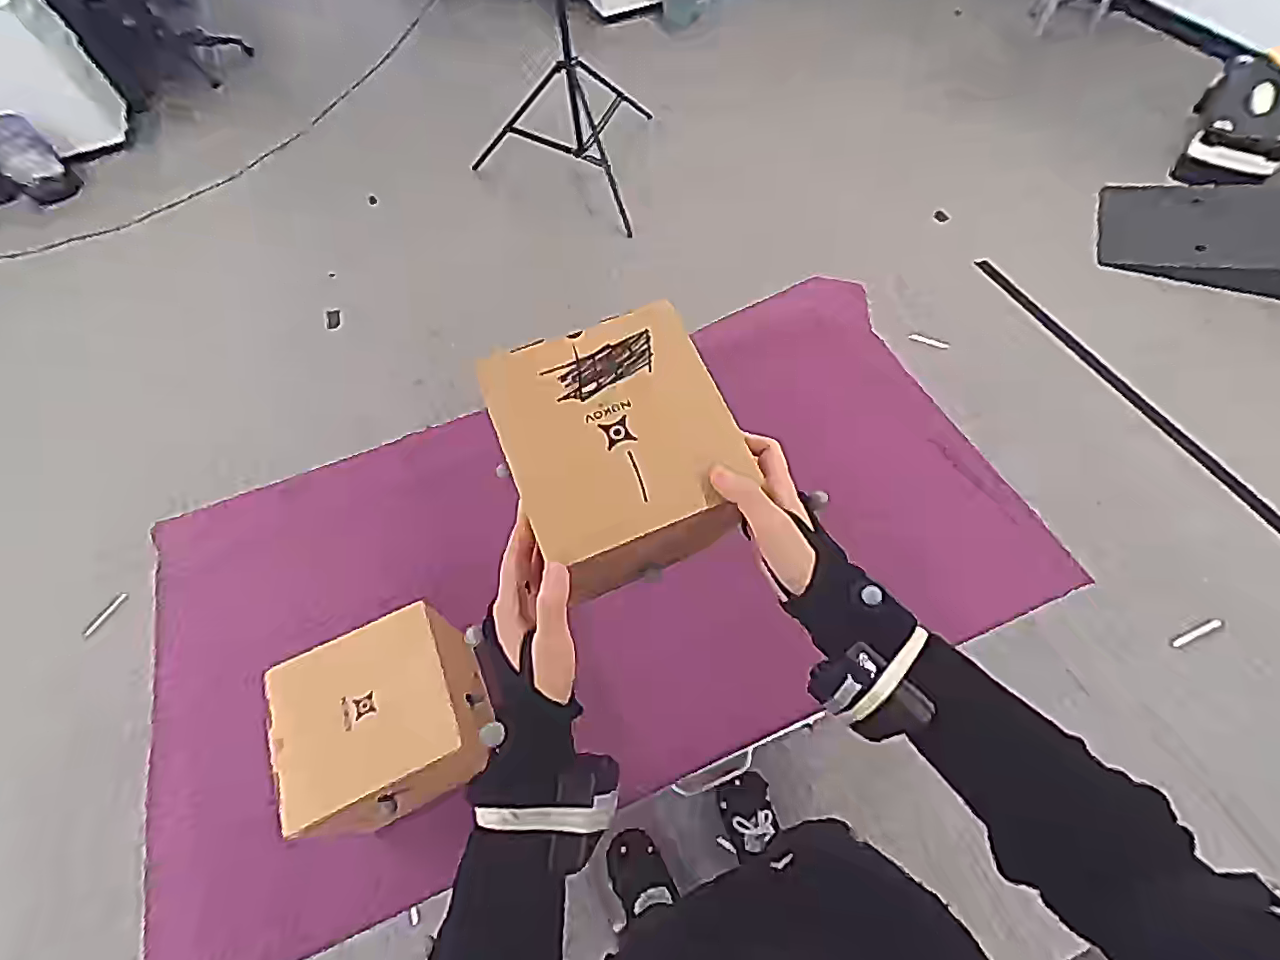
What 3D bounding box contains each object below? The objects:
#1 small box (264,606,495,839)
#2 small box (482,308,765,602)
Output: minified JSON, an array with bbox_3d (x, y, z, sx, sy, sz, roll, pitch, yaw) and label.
[{"bbox_3d":[-0.280,0.273,0.616,0.179,0.176,0.168,-25,61,-10],"label":"small box"},{"bbox_3d":[-0.019,-0.011,0.475,0.168,0.176,0.179,-21,72,-9],"label":"small box"}]
